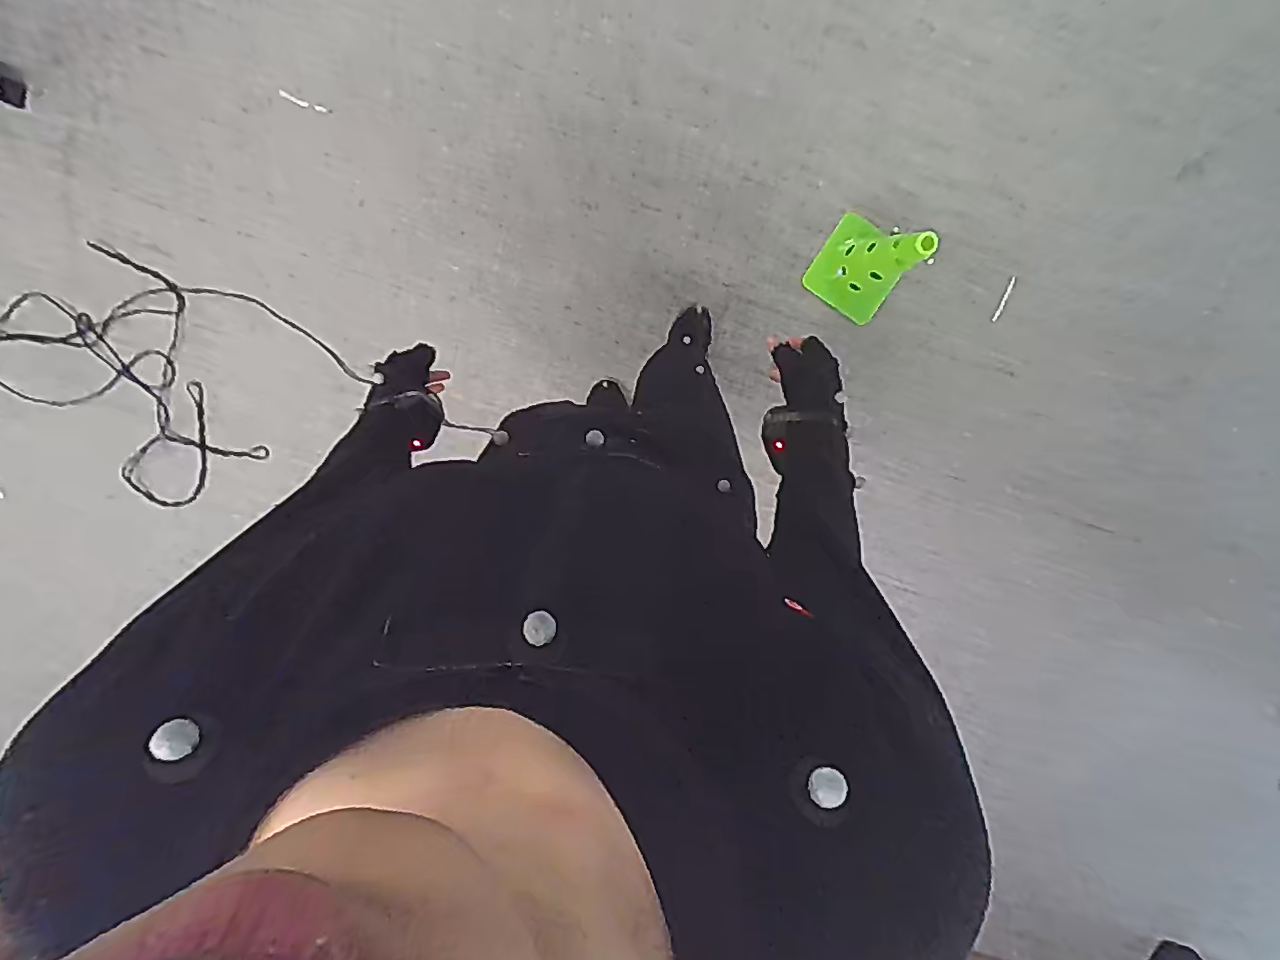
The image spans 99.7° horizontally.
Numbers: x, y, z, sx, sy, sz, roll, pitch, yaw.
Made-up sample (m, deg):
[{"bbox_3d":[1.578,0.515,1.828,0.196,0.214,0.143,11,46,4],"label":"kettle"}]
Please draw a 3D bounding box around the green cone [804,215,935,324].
[{"bbox_3d":[0.524,-0.473,1.154,0.200,0.368,0.202,31,102,-5],"label":"green cone"}]
